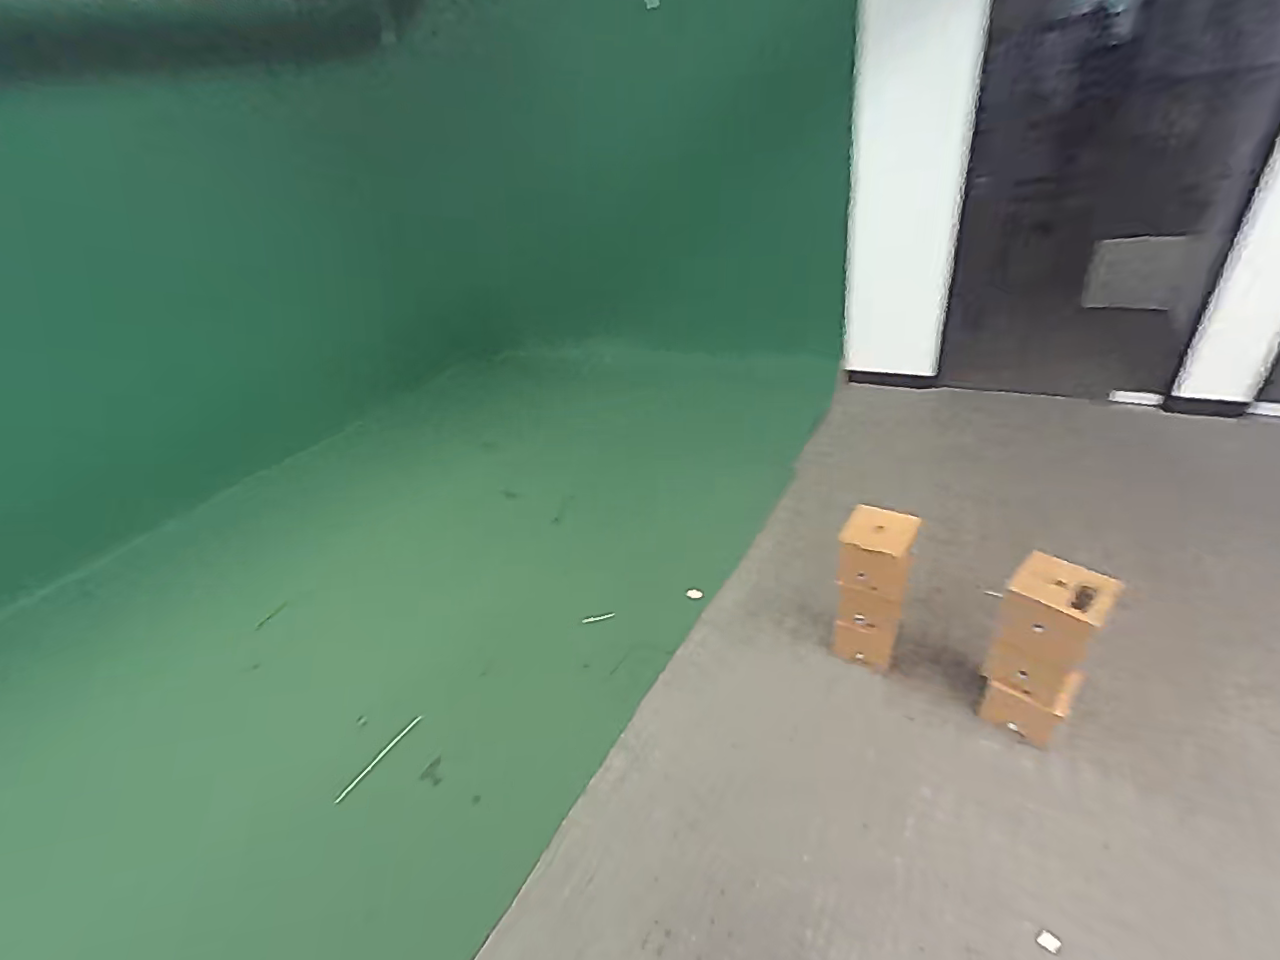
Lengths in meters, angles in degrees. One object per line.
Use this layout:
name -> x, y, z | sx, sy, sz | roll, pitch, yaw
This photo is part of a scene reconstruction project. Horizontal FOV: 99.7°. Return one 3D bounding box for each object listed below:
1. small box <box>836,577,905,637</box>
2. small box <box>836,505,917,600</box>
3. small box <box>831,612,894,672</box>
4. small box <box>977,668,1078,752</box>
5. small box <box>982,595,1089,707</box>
small box -> 0.687, 0.333, 1.613 | 0.168, 0.176, 0.179 | 10, 40, 29
small box -> 0.659, 0.202, 1.520 | 0.168, 0.176, 0.179 | 16, 42, 34
small box -> 0.706, 0.466, 1.703 | 0.168, 0.176, 0.179 | 10, 40, 29
small box -> 1.030, 0.577, 1.448 | 0.168, 0.176, 0.179 | 22, 46, 39
small box -> 0.996, 0.435, 1.374 | 0.179, 0.176, 0.168 | -34, 40, -29
